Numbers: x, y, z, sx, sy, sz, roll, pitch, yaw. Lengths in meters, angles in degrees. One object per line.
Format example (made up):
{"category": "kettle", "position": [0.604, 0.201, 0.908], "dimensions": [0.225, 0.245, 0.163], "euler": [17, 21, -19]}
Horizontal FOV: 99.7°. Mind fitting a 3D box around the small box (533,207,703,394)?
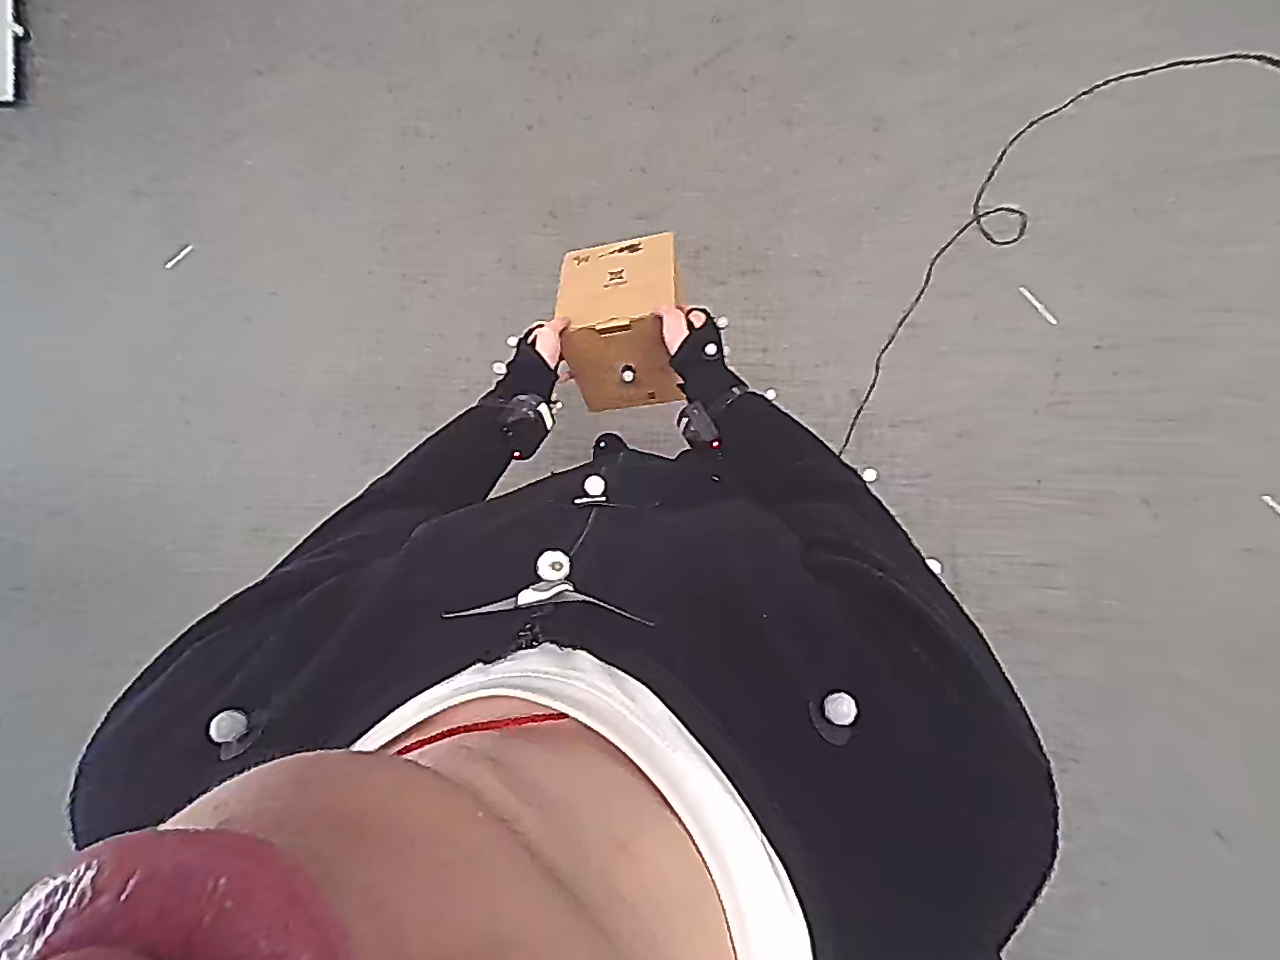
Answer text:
{"category": "small box", "position": [-0.026, -0.260, 0.805], "dimensions": [0.179, 0.176, 0.168], "euler": [-31, 54, -5]}
